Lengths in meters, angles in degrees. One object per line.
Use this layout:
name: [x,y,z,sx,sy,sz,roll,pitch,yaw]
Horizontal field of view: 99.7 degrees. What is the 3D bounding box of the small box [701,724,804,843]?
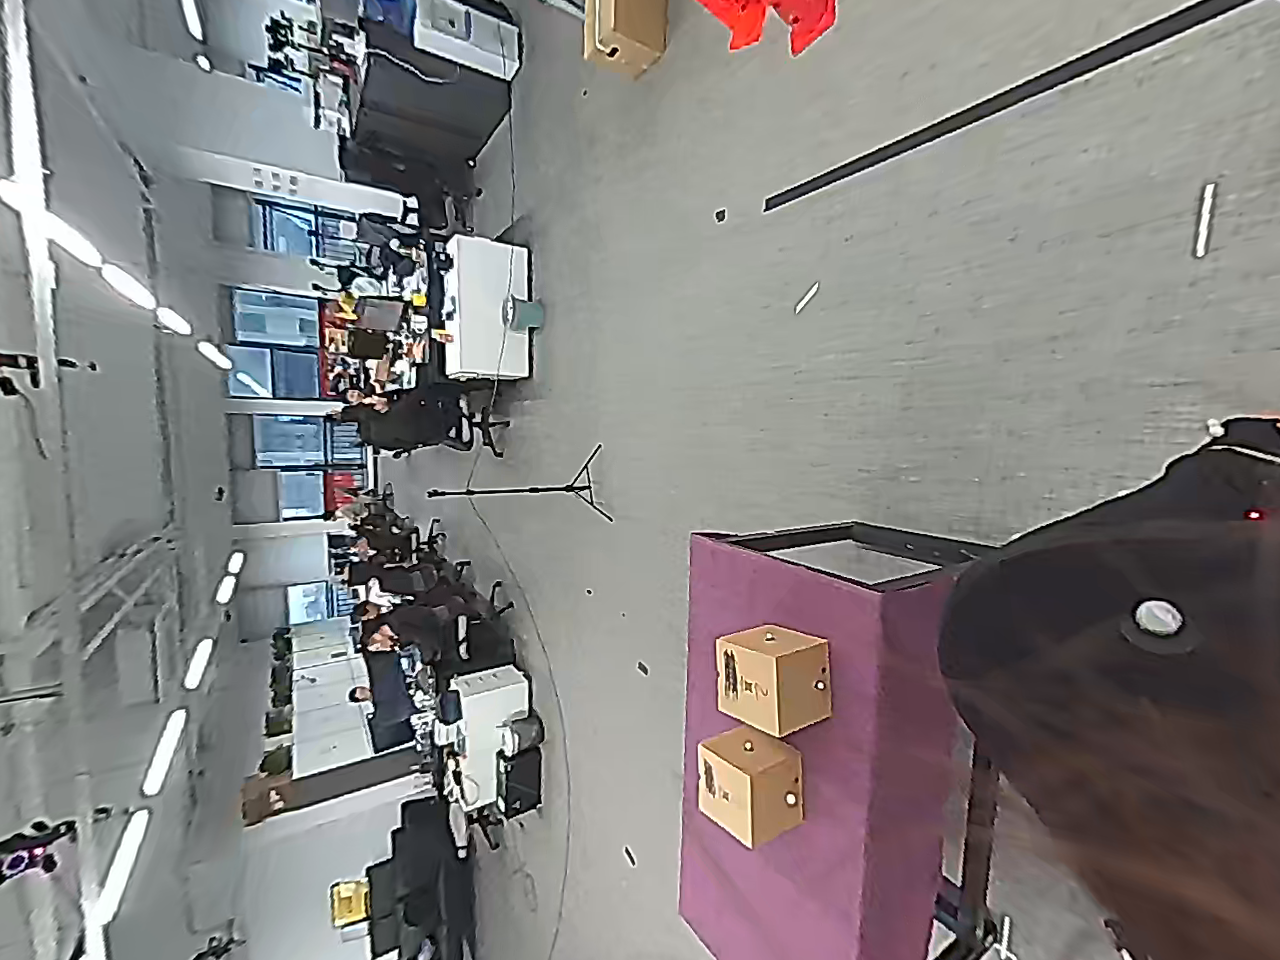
small box: [0.263,0.699,1.273,0.179,0.176,0.168,1,94,56]
